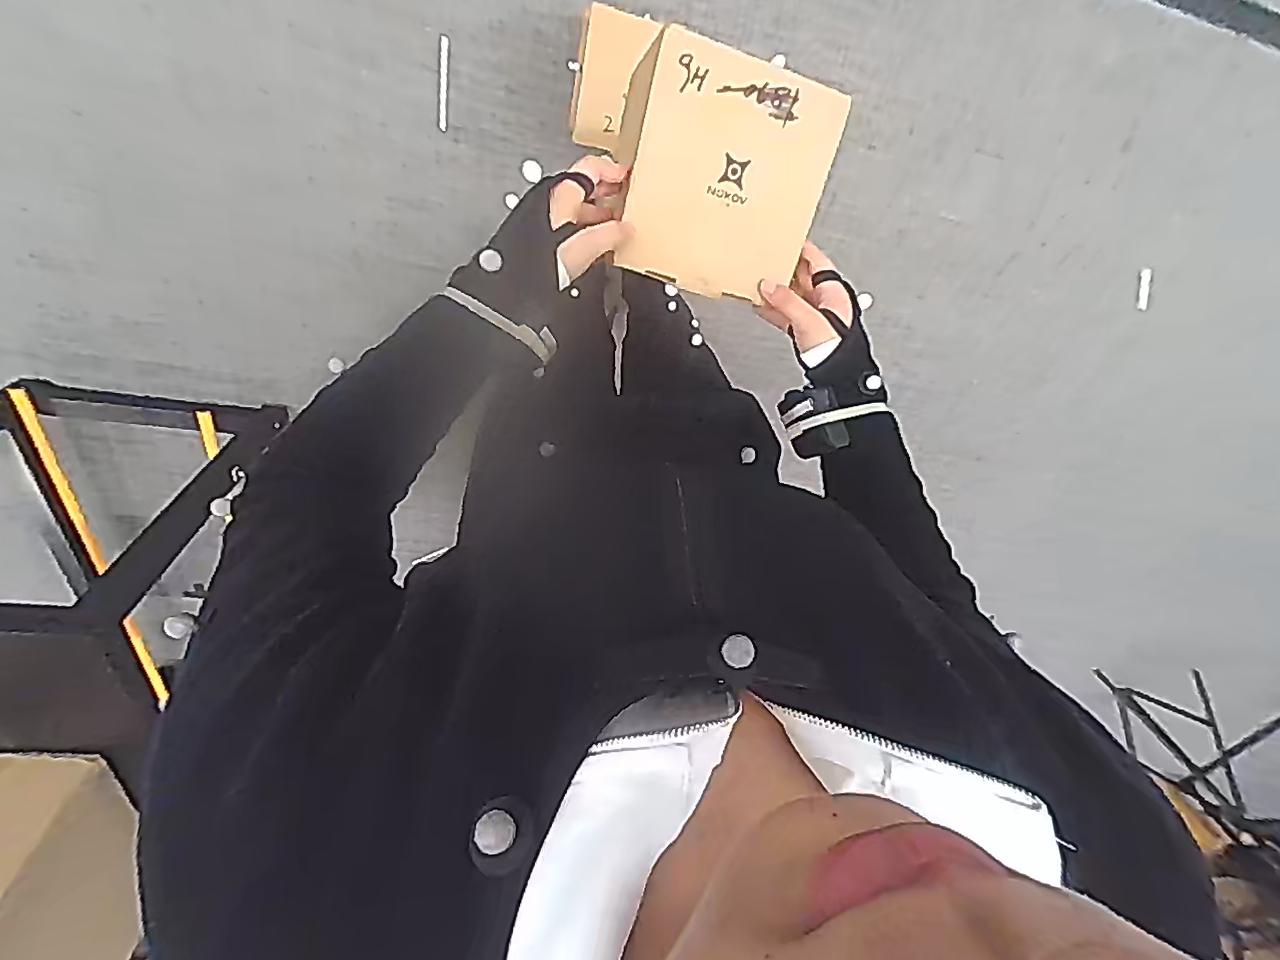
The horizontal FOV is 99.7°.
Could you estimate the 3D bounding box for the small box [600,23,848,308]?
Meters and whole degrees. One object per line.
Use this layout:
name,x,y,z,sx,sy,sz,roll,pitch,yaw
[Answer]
small box,0.060,-0.286,0.524,0.168,0.176,0.179,9,114,-15

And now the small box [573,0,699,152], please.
small box,-0.016,-0.634,0.880,0.168,0.176,0.179,8,125,-12

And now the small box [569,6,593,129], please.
small box,-0.039,-0.740,1.006,0.168,0.176,0.179,7,126,-12
